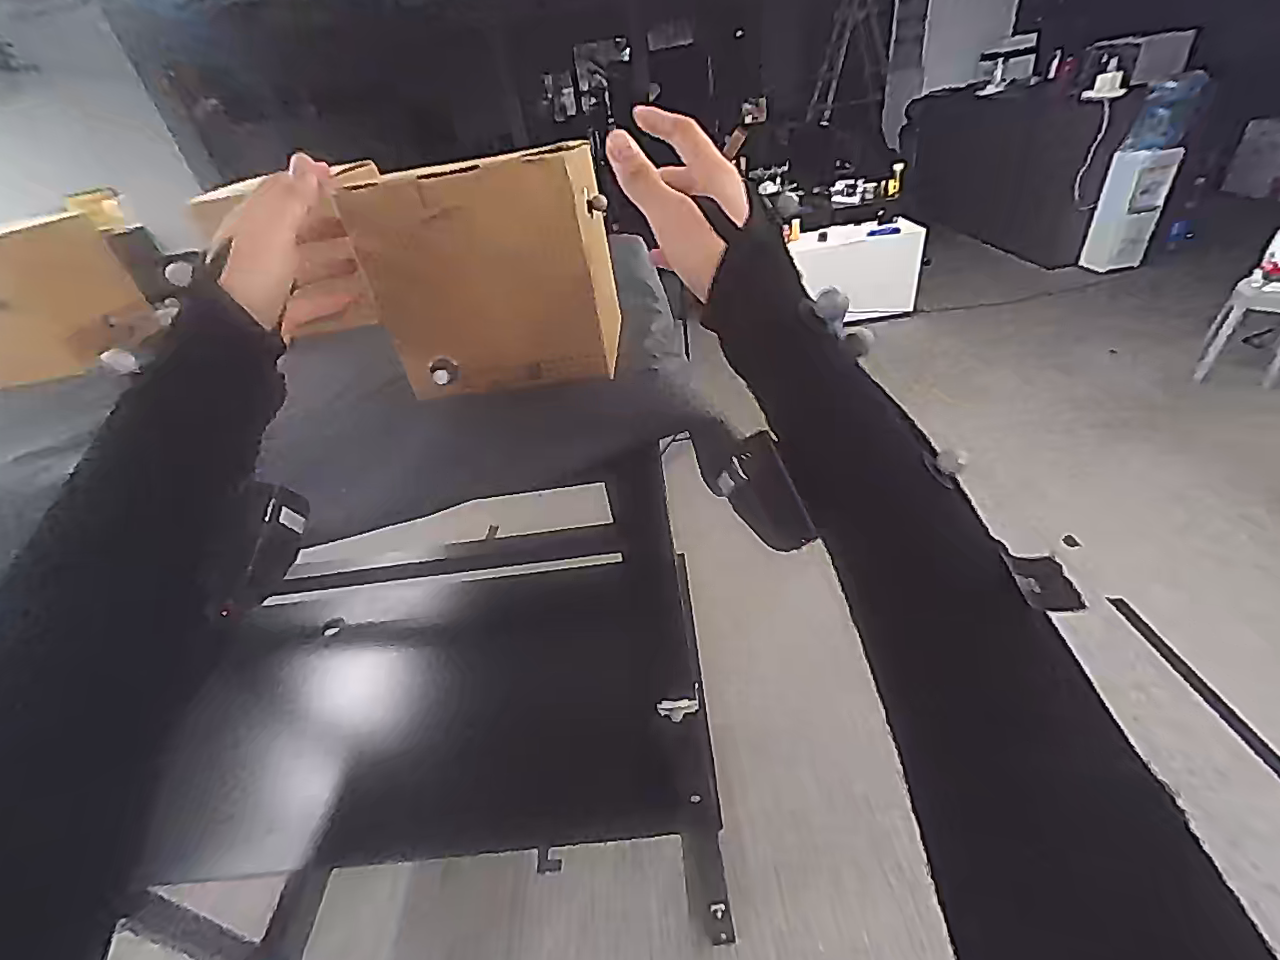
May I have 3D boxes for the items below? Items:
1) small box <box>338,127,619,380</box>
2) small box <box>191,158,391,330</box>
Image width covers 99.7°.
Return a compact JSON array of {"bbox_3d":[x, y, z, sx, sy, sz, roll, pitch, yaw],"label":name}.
[{"bbox_3d":[-0.114,-0.194,0.474,0.168,0.176,0.179,-6,32,5],"label":"small box"},{"bbox_3d":[-0.421,-0.314,0.719,0.168,0.176,0.179,-8,36,2],"label":"small box"}]
